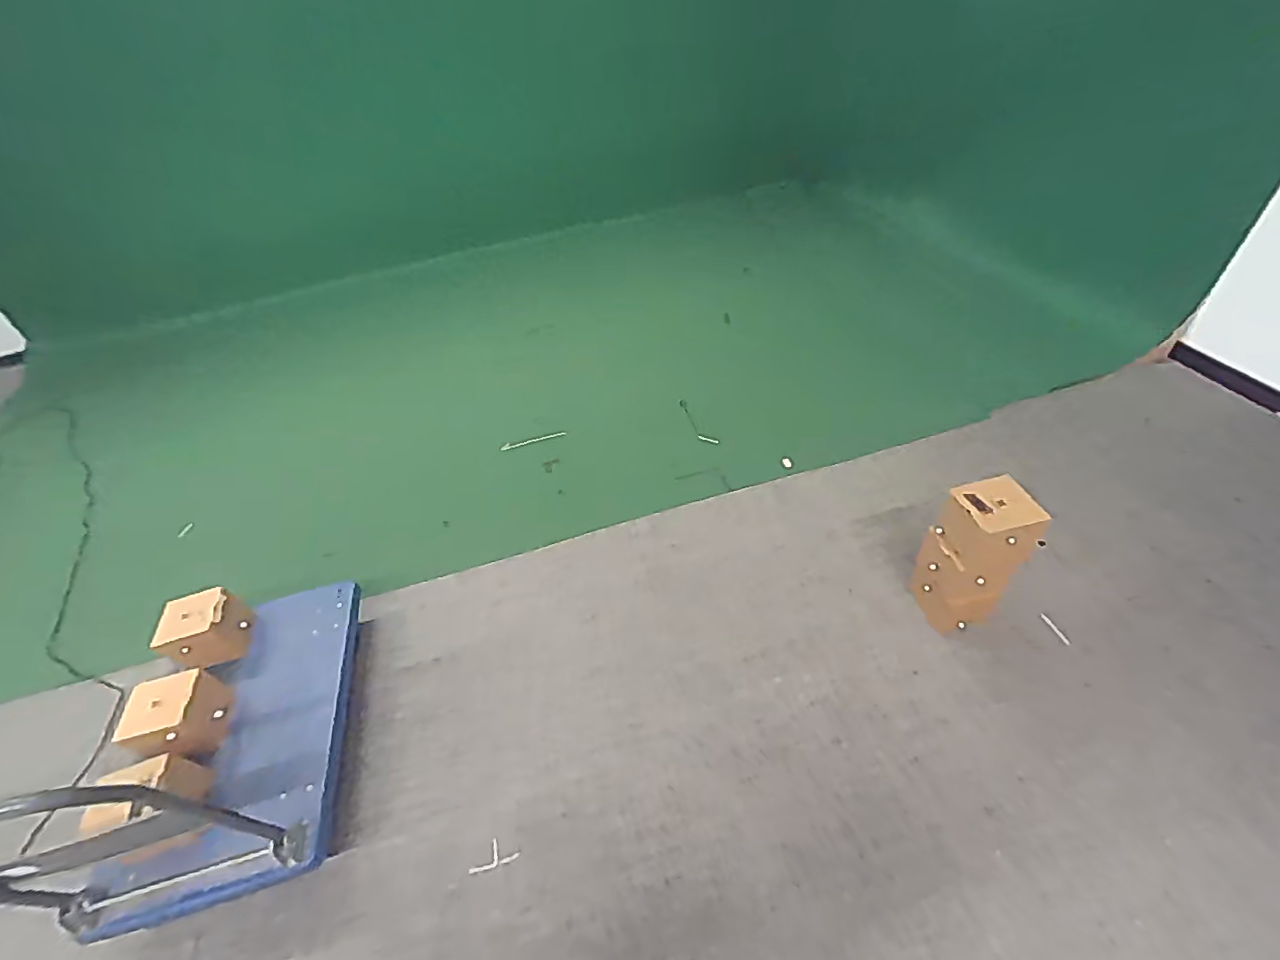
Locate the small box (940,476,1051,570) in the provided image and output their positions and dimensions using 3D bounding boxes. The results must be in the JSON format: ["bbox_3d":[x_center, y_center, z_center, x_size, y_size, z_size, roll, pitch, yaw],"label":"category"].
[{"bbox_3d":[0.935,0.119,1.448,0.179,0.176,0.168,-13,45,-3],"label":"small box"}]

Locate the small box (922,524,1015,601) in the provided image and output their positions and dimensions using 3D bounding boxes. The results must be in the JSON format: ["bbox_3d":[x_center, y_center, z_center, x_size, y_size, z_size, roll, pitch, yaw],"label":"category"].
[{"bbox_3d":[0.946,0.229,1.571,0.179,0.176,0.168,-13,45,-1],"label":"small box"}]

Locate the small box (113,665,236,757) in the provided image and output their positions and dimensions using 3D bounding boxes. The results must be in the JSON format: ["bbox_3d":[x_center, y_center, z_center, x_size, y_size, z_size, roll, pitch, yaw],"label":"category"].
[{"bbox_3d":[-1.299,0.654,1.524,0.179,0.176,0.168,-14,46,-6],"label":"small box"}]

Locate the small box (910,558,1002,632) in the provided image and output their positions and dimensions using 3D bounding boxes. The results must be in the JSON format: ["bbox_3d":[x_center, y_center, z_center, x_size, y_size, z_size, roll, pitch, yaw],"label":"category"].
[{"bbox_3d":[0.972,0.344,1.684,0.168,0.176,0.179,-12,46,-1],"label":"small box"}]

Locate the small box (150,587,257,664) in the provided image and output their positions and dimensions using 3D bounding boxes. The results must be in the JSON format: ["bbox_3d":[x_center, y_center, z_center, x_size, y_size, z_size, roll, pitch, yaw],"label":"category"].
[{"bbox_3d":[-1.371,0.464,1.712,0.179,0.176,0.168,-10,49,-2],"label":"small box"}]
